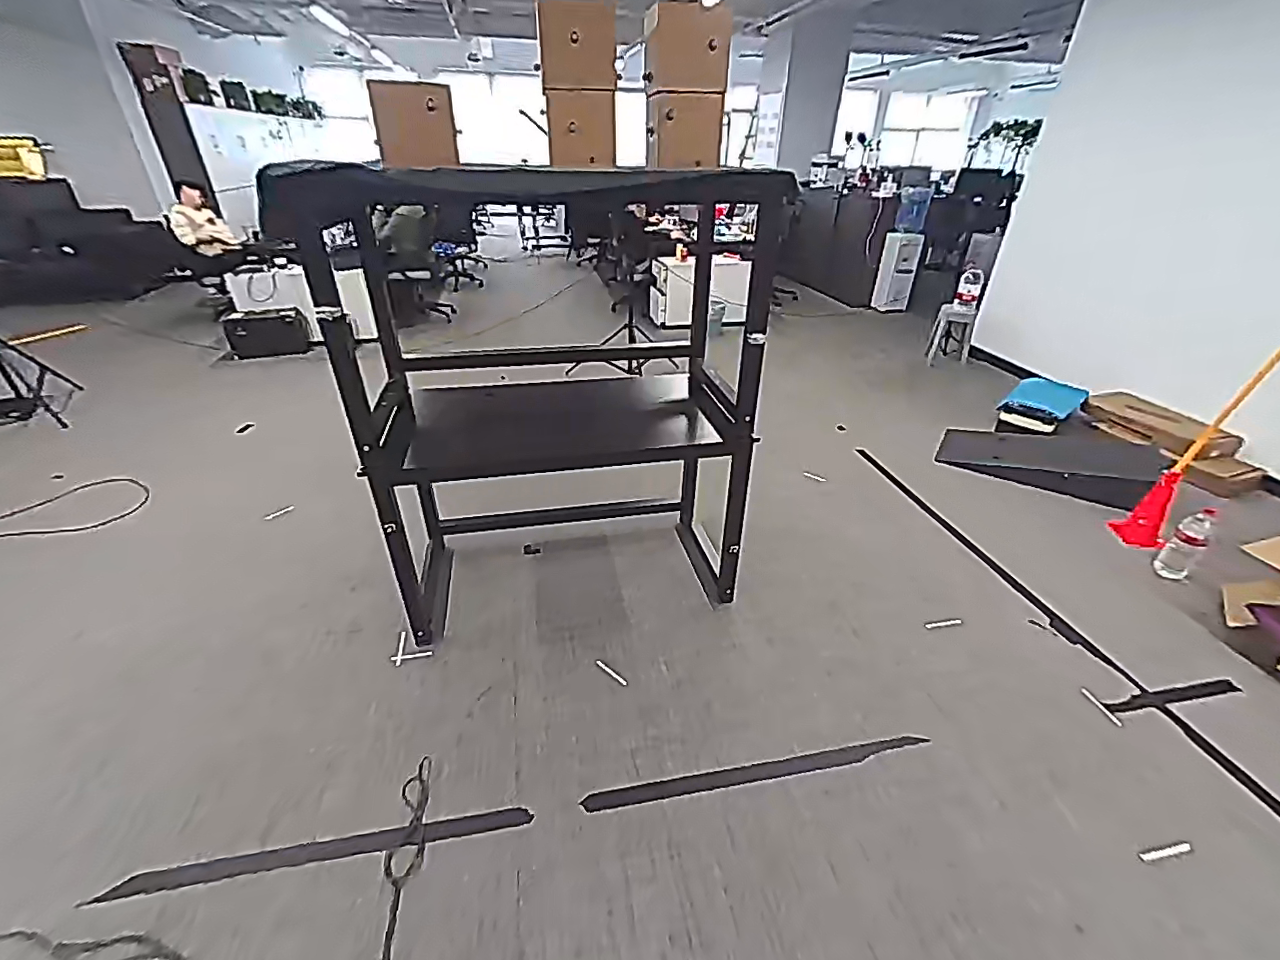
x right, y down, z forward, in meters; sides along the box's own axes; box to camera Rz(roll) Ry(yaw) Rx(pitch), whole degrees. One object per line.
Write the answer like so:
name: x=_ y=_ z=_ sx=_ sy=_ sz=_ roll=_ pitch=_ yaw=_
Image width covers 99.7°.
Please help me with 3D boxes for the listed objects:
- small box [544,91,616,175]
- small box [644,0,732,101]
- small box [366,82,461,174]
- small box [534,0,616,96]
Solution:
small box: x=-0.150 y=-0.869 z=1.362 sx=0.168 sy=0.176 sz=0.179 roll=-4 pitch=30 yaw=-7
small box: x=0.109 y=-1.024 z=1.303 sx=0.179 sy=0.176 sz=0.168 roll=-6 pitch=29 yaw=-9
small box: x=-0.521 y=-0.822 z=1.273 sx=0.179 sy=0.176 sz=0.168 roll=-8 pitch=31 yaw=-14
small box: x=-0.150 y=-1.006 z=1.270 sx=0.179 sy=0.176 sz=0.168 roll=-5 pitch=30 yaw=-6
